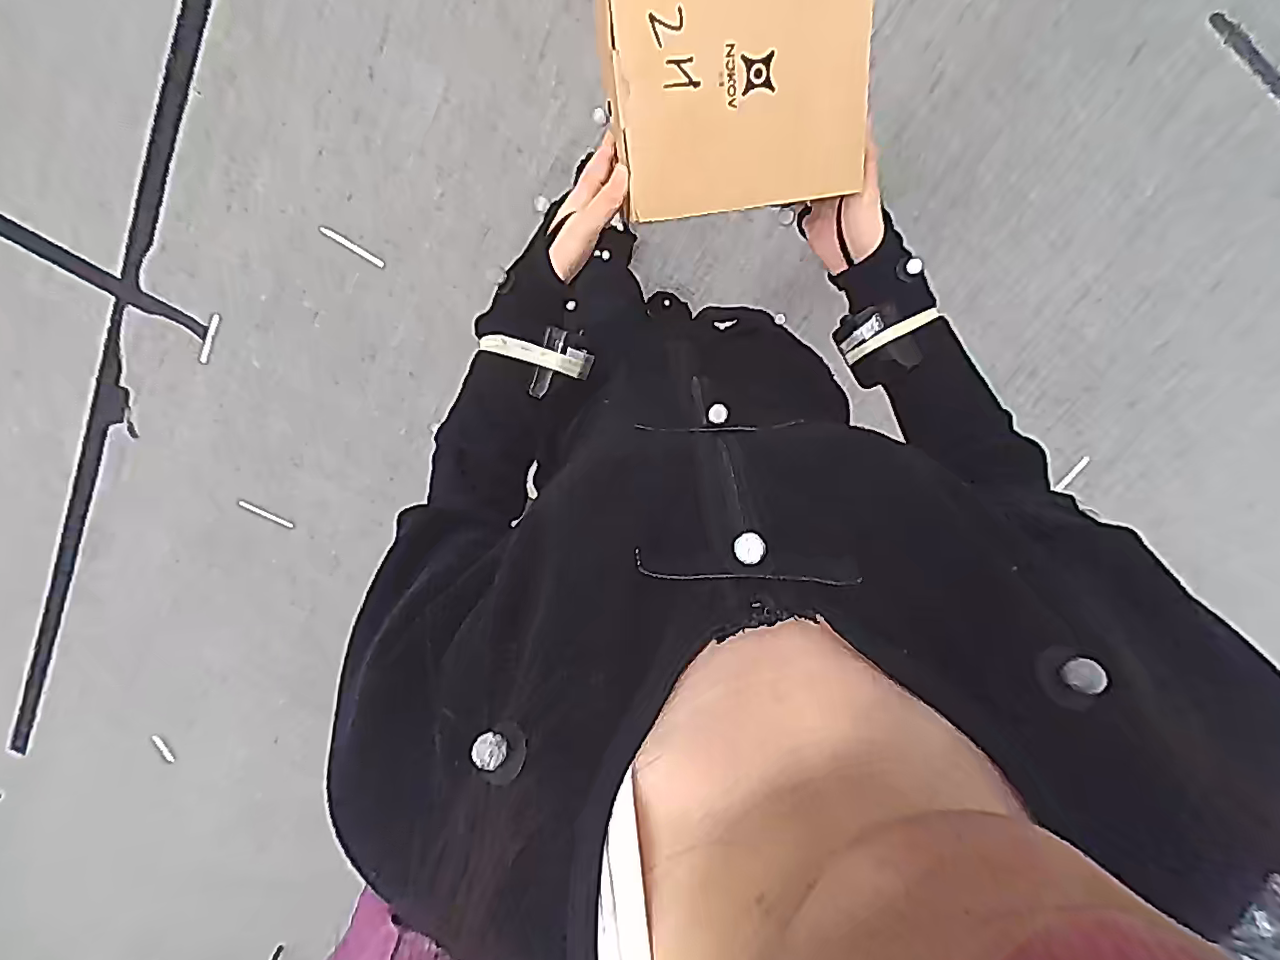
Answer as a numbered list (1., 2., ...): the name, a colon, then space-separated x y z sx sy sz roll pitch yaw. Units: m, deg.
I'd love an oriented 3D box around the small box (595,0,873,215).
1. small box: 0.062 -0.315 0.434 0.179 0.176 0.168 -8 117 -2
